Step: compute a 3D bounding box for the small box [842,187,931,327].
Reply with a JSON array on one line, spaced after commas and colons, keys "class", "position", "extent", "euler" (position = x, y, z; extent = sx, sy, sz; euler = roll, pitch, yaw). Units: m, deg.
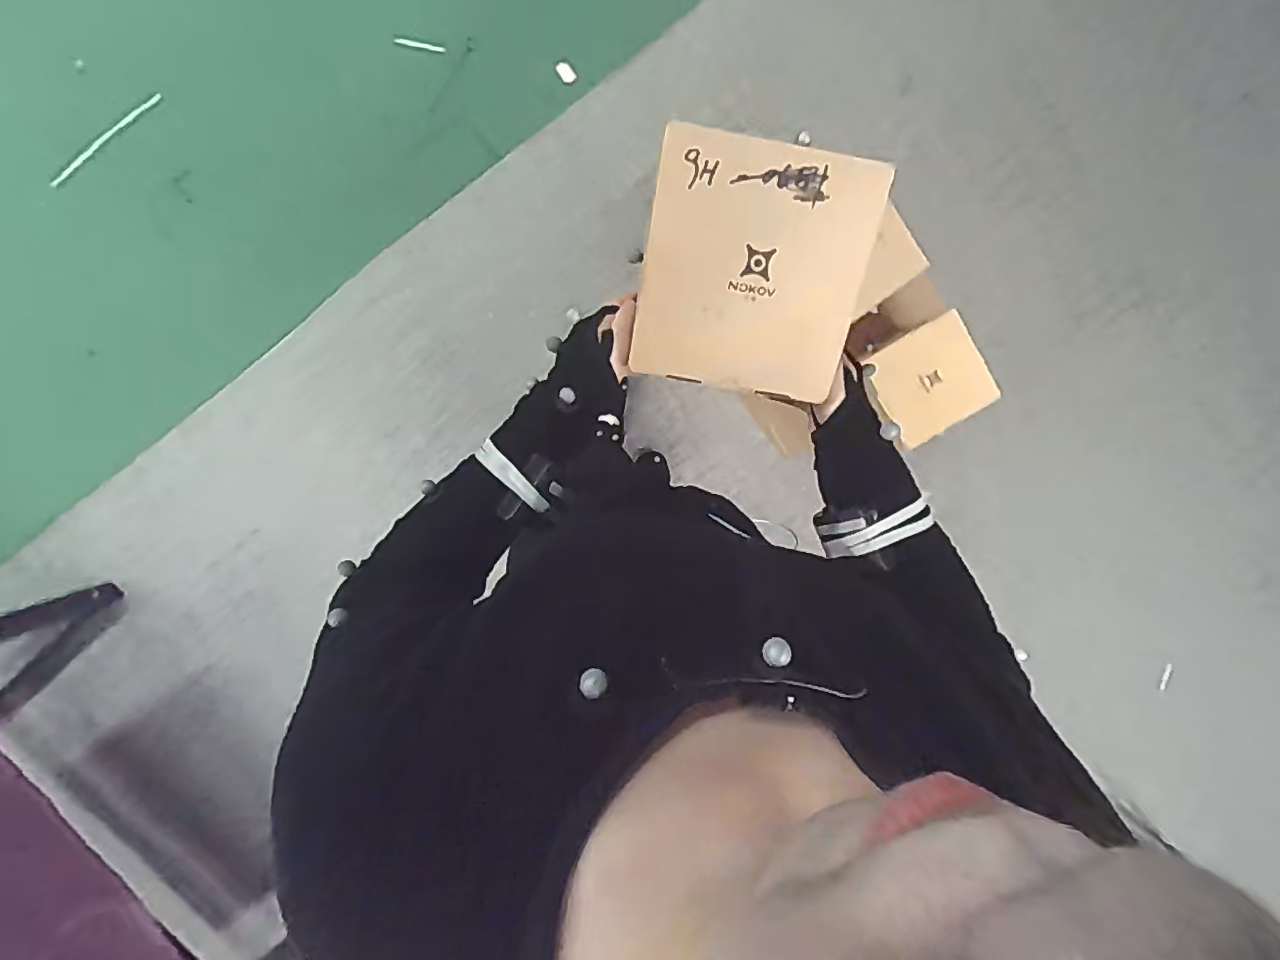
[{"class": "small box", "position": [0.342, -0.364, 0.926], "extent": [0.179, 0.176, 0.168], "euler": [-36, 97, 3]}]

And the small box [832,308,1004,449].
[{"class": "small box", "position": [0.471, -0.169, 0.943], "extent": [0.179, 0.176, 0.168], "euler": [-31, 94, 2]}]

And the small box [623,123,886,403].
[{"class": "small box", "position": [0.079, -0.183, 0.476], "extent": [0.168, 0.176, 0.179], "euler": [7, 112, -4]}]
